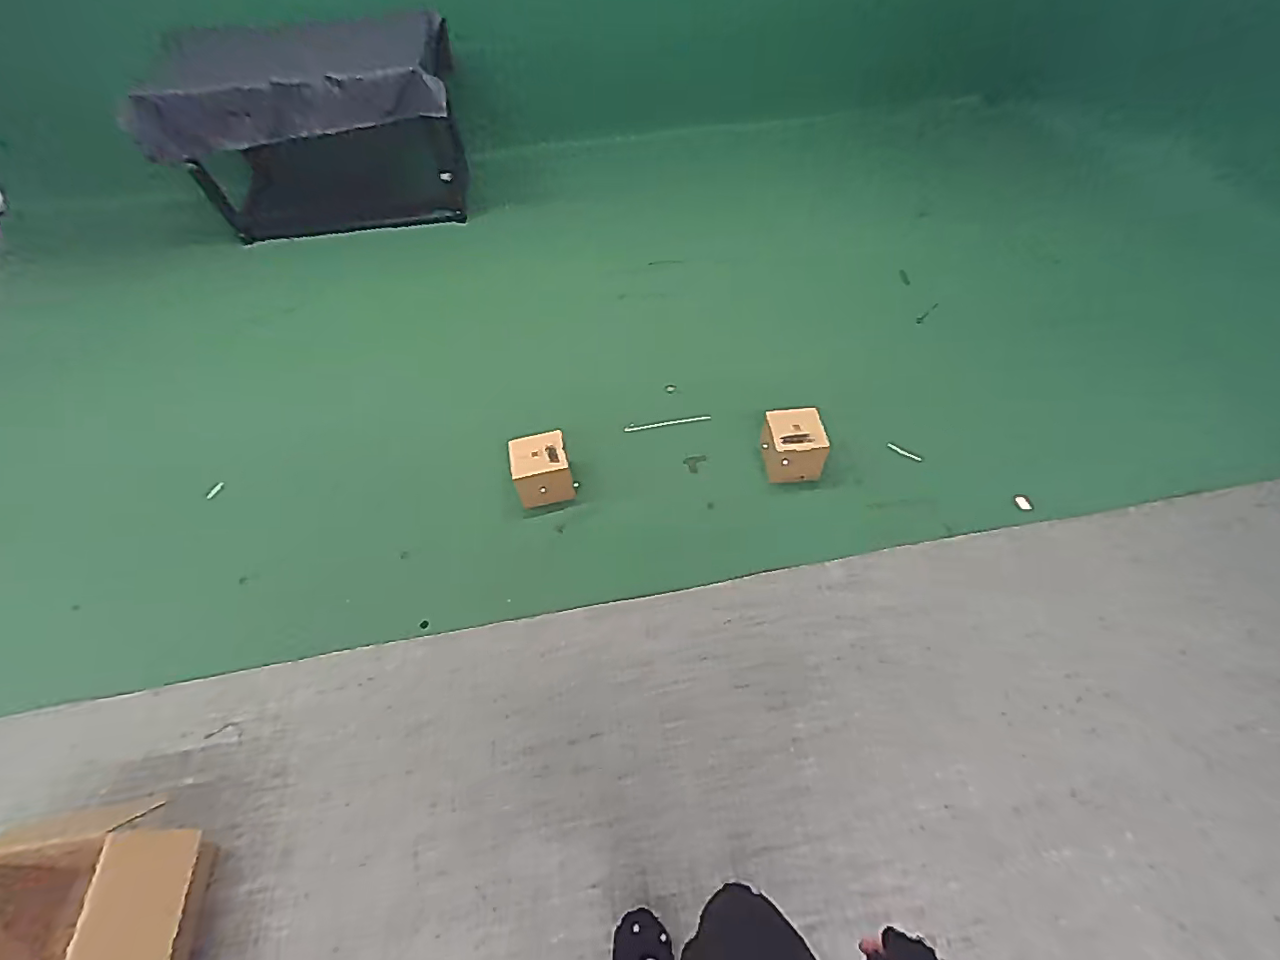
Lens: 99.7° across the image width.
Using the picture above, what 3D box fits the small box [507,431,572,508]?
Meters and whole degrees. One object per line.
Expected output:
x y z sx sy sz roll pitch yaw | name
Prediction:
-0.324 -0.032 1.766 0.179 0.176 0.168 -12 53 -5 | small box
